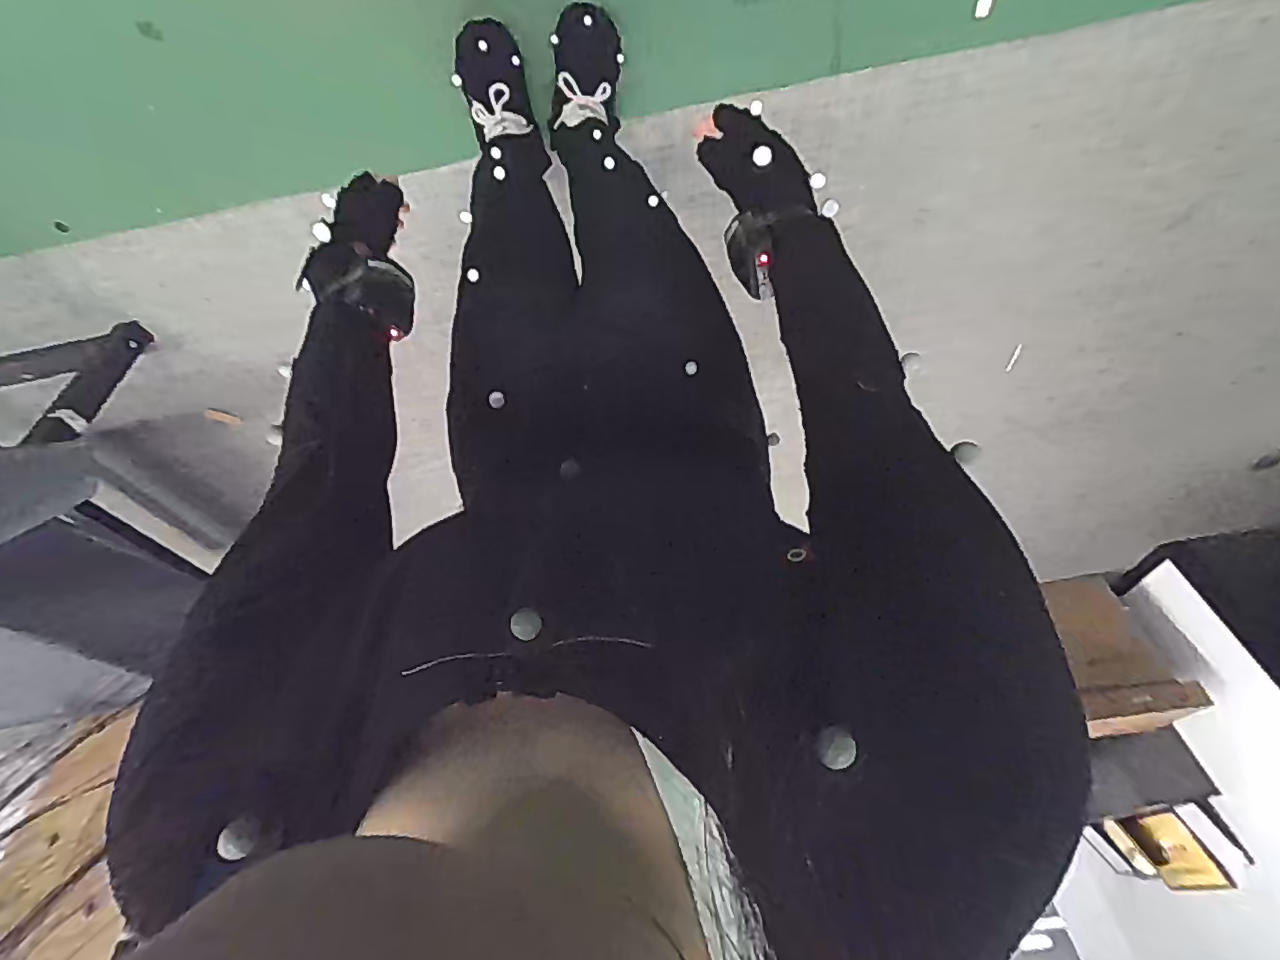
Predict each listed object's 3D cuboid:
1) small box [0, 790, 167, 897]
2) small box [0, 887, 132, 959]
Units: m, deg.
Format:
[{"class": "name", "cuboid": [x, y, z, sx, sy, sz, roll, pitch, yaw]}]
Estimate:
[{"class": "small box", "cuboid": [-1.160, 0.760, 1.127, 0.168, 0.176, 0.179, -11, 141, 3]}, {"class": "small box", "cuboid": [-1.146, 0.888, 1.026, 0.168, 0.176, 0.179, -10, 140, 2]}]
